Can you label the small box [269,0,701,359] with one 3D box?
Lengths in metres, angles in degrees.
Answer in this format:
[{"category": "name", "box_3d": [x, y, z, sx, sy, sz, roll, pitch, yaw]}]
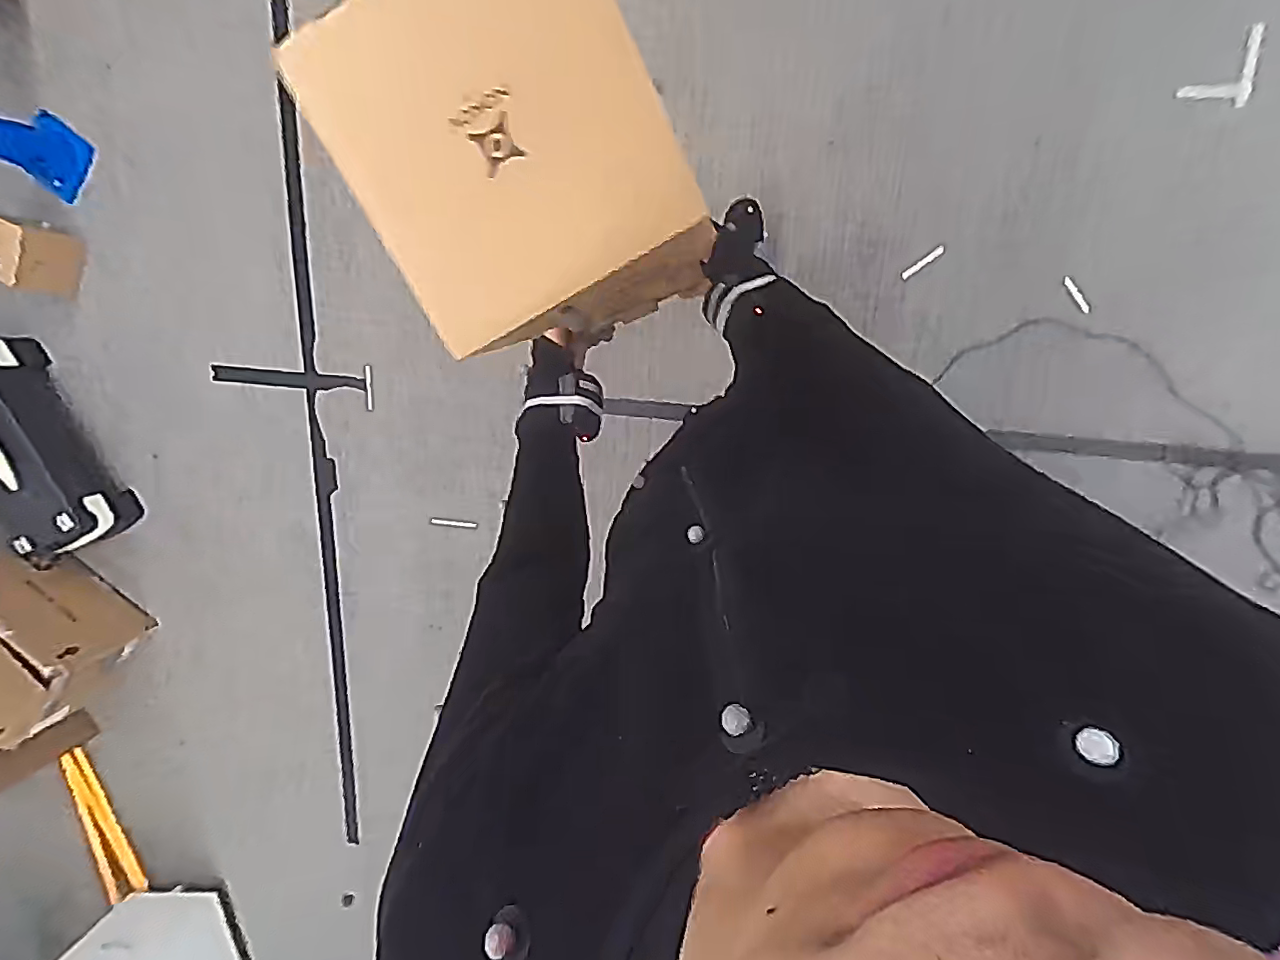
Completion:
[{"category": "small box", "box_3d": [-0.069, -0.201, 0.349, 0.168, 0.176, 0.179, -26, 104, 13]}]
